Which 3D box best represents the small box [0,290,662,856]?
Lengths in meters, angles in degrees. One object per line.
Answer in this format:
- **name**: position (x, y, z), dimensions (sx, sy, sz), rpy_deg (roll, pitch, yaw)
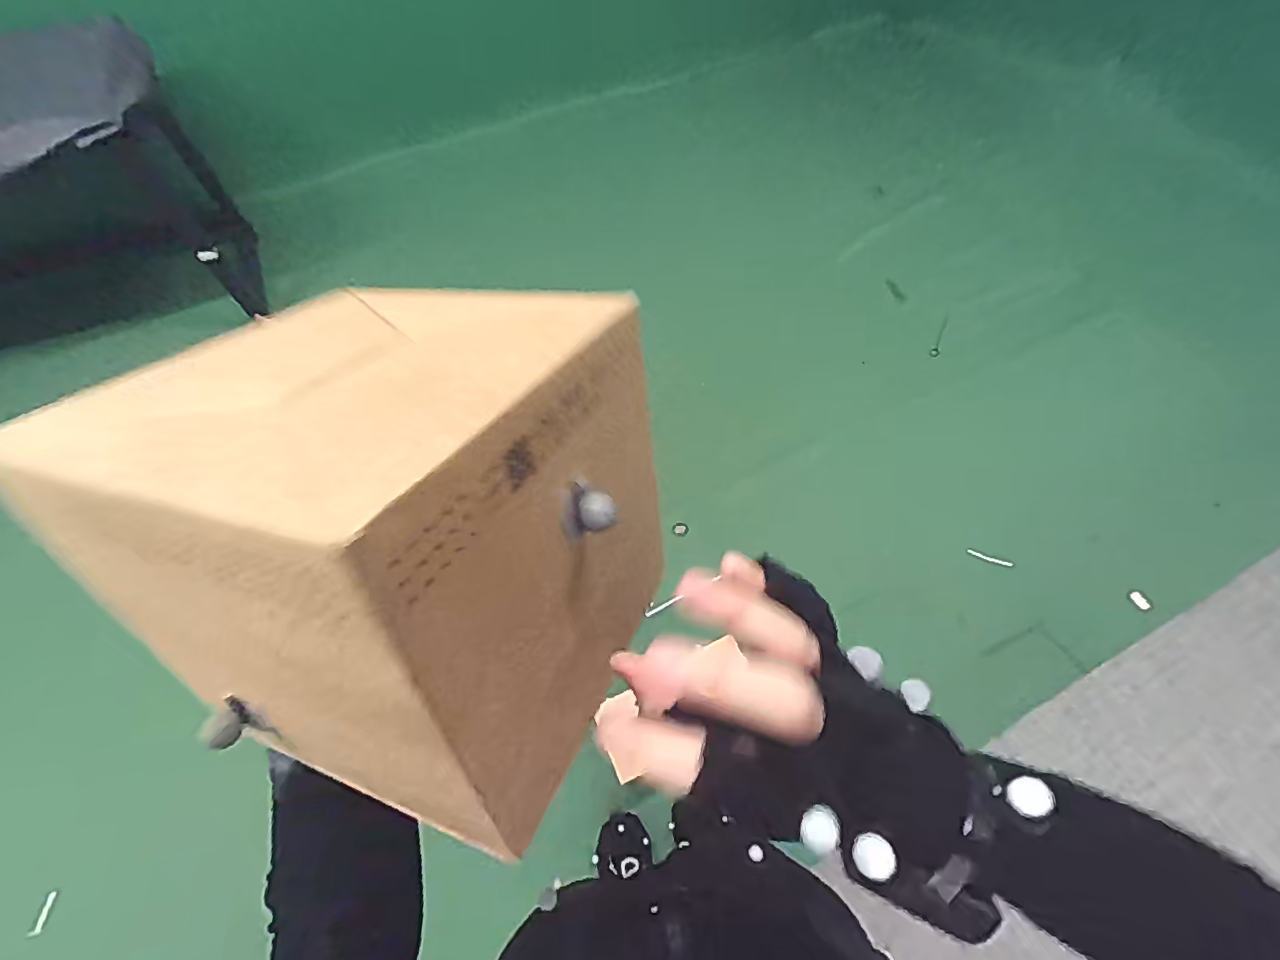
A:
- **small box**: position (-0.101, 0.021, 0.245), dimensions (0.179, 0.176, 0.168), rpy_deg (8, 40, 20)
